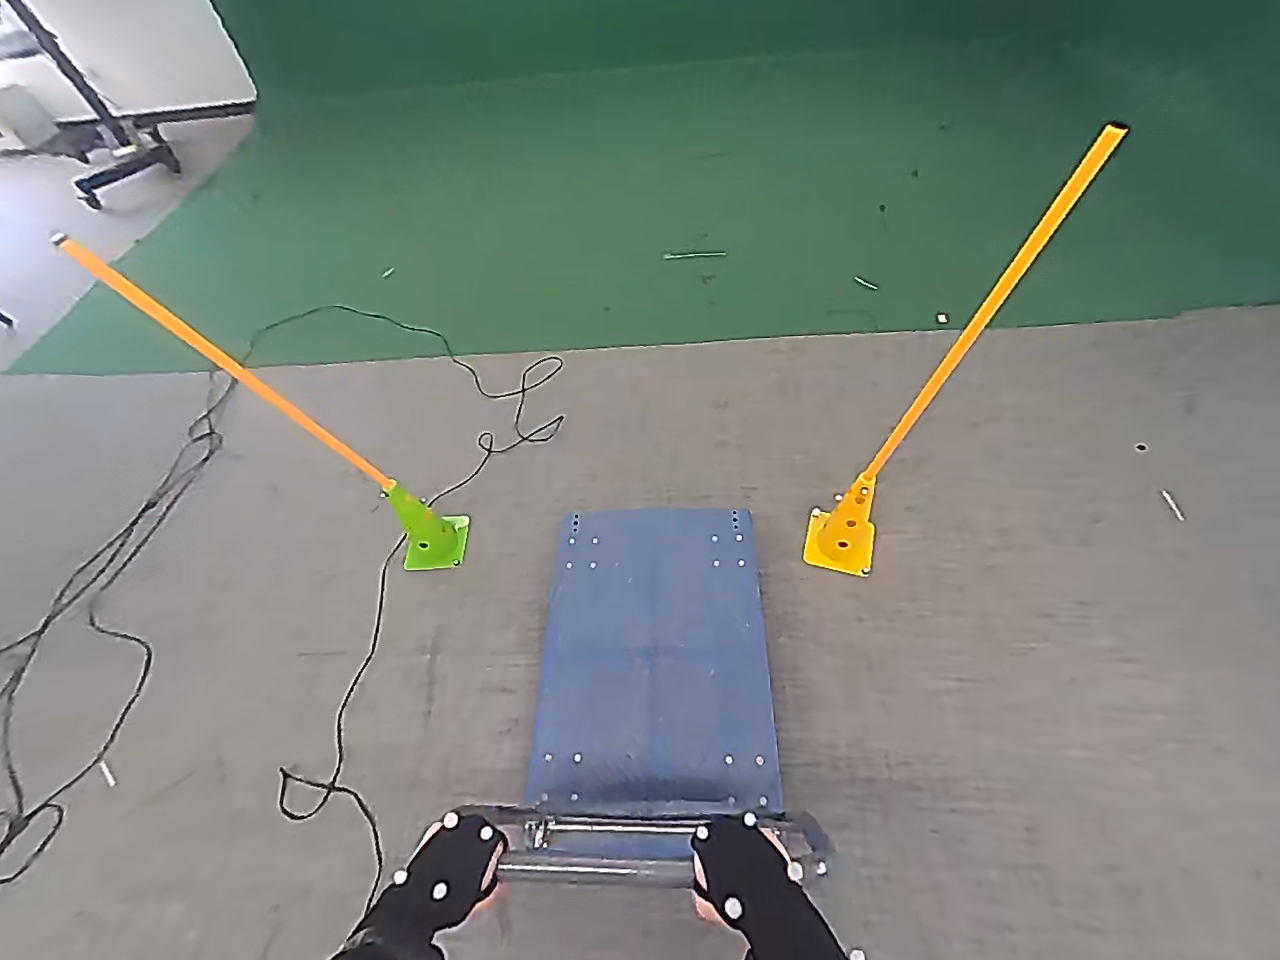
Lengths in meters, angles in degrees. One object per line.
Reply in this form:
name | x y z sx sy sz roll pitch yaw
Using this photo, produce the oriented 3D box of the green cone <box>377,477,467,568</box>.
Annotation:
green cone | -0.717 0.105 1.710 0.202 0.368 0.200 -6 54 4
